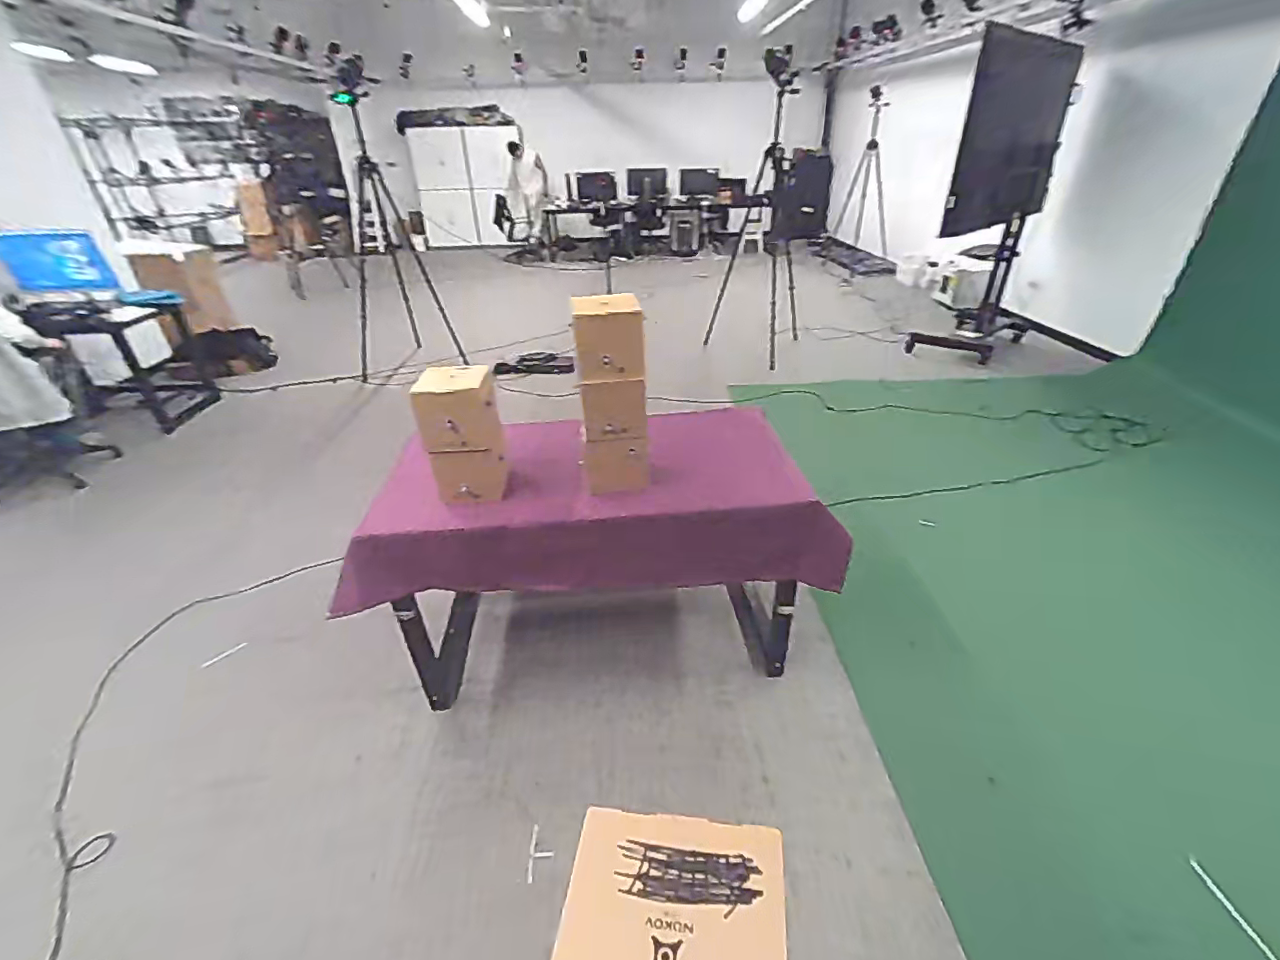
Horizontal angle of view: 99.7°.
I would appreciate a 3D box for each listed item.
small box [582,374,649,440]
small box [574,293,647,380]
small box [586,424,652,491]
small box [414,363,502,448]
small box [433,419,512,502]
[{"bbox_3d":[-0.066,-0.222,1.441,0.168,0.176,0.179,-5,33,-4],"label":"small box"},{"bbox_3d":[-0.075,-0.363,1.360,0.168,0.176,0.179,-7,33,-6],"label":"small box"},{"bbox_3d":[-0.060,-0.082,1.525,0.179,0.176,0.168,-4,31,-3],"label":"small box"},{"bbox_3d":[-0.466,-0.191,1.412,0.168,0.176,0.179,-2,33,-2],"label":"small box"},{"bbox_3d":[-0.458,-0.057,1.506,0.168,0.176,0.179,-3,33,-2],"label":"small box"}]
